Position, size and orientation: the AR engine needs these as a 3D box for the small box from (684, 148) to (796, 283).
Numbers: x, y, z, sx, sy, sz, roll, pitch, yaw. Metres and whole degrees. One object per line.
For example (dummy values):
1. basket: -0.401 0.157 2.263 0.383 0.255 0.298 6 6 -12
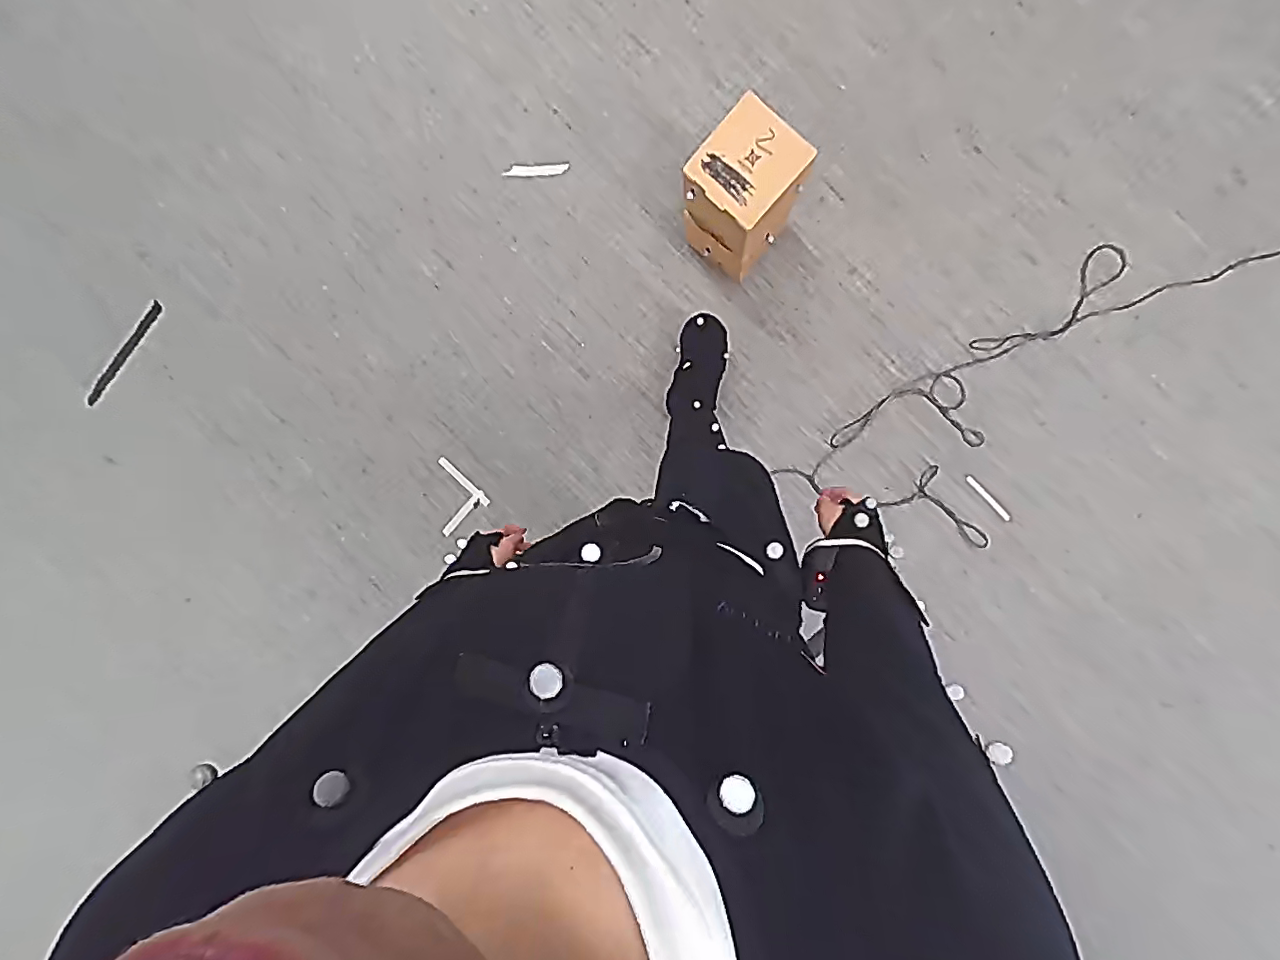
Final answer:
1. small box: 0.212 -0.569 1.189 0.168 0.176 0.179 38 99 2
